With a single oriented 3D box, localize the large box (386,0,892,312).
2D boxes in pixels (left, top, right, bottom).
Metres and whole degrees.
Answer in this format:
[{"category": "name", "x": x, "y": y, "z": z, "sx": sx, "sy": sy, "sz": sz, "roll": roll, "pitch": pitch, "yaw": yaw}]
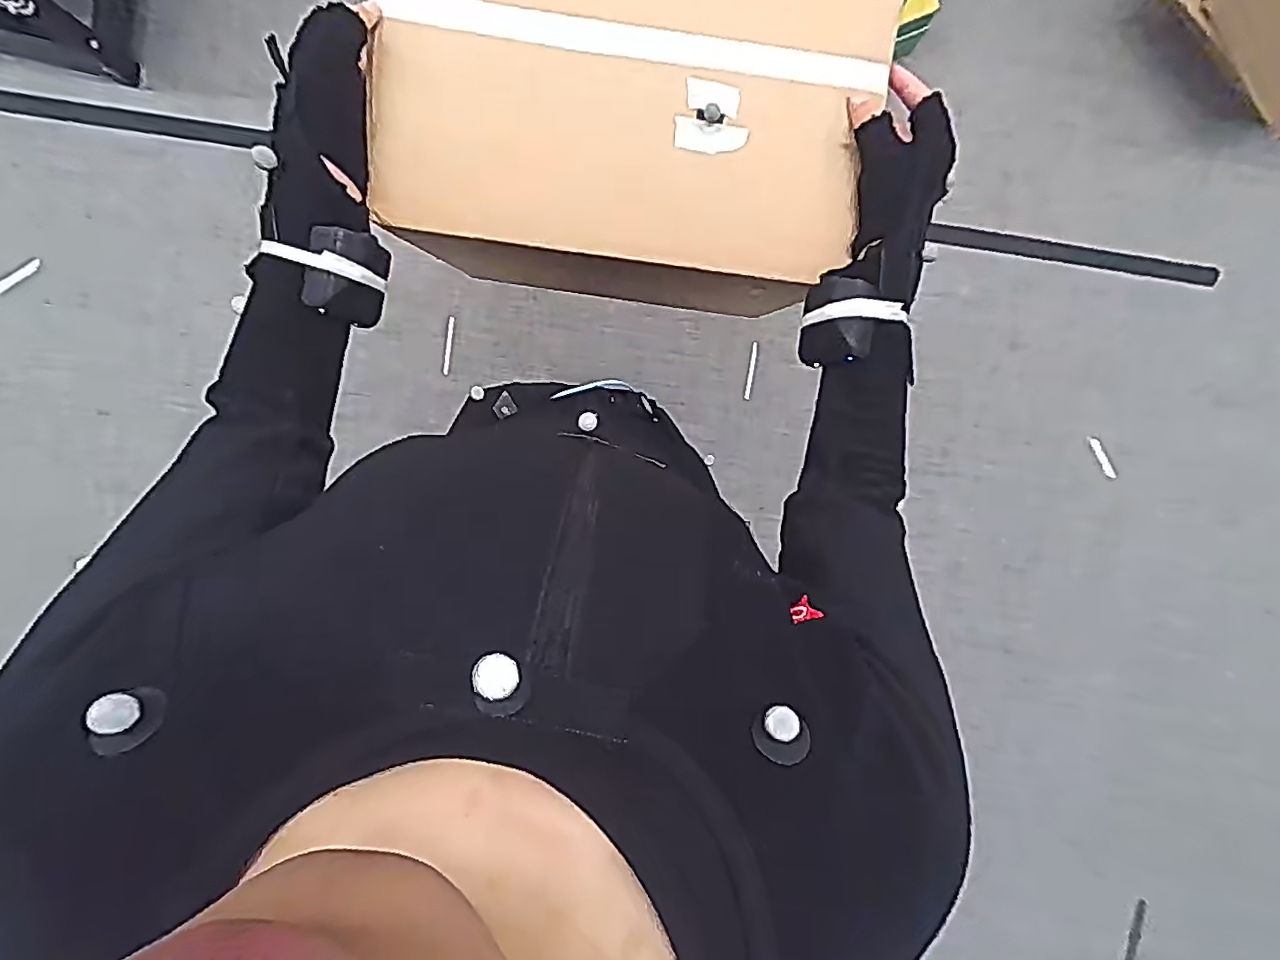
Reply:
[{"category": "large box", "x": -0.008, "y": -0.375, "z": 0.583, "sx": 0.408, "sy": 0.320, "sz": 0.320, "roll": 7, "pitch": 103, "yaw": -4}]
